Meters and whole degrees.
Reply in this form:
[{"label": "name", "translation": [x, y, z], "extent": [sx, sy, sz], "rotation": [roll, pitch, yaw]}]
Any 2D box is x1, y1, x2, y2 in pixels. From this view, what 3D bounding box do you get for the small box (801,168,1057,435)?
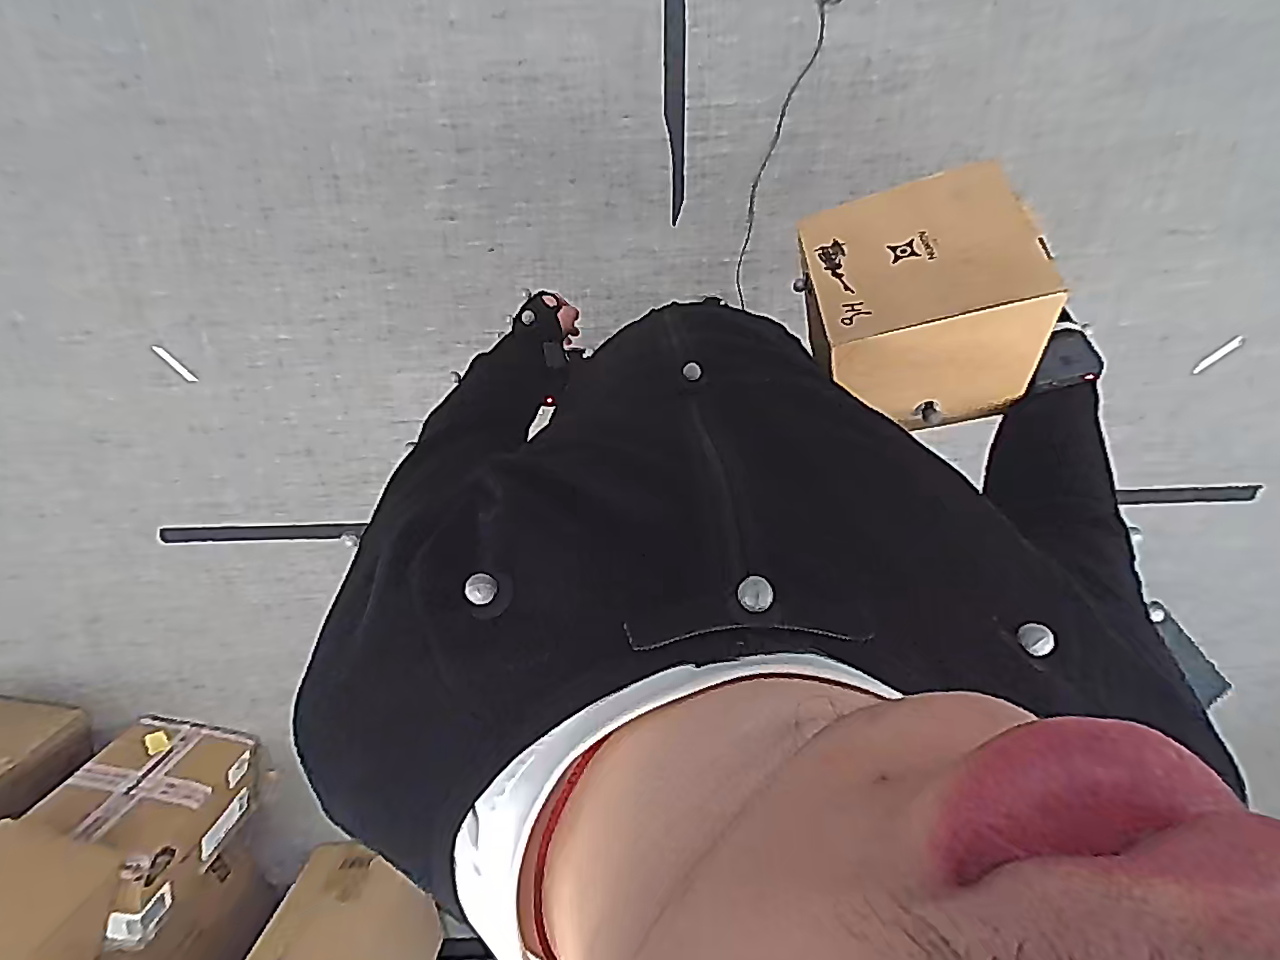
[{"label": "small box", "translation": [0.271, -0.168, 0.552], "extent": [0.179, 0.168, 0.176], "rotation": [-11, 149, 16]}]
